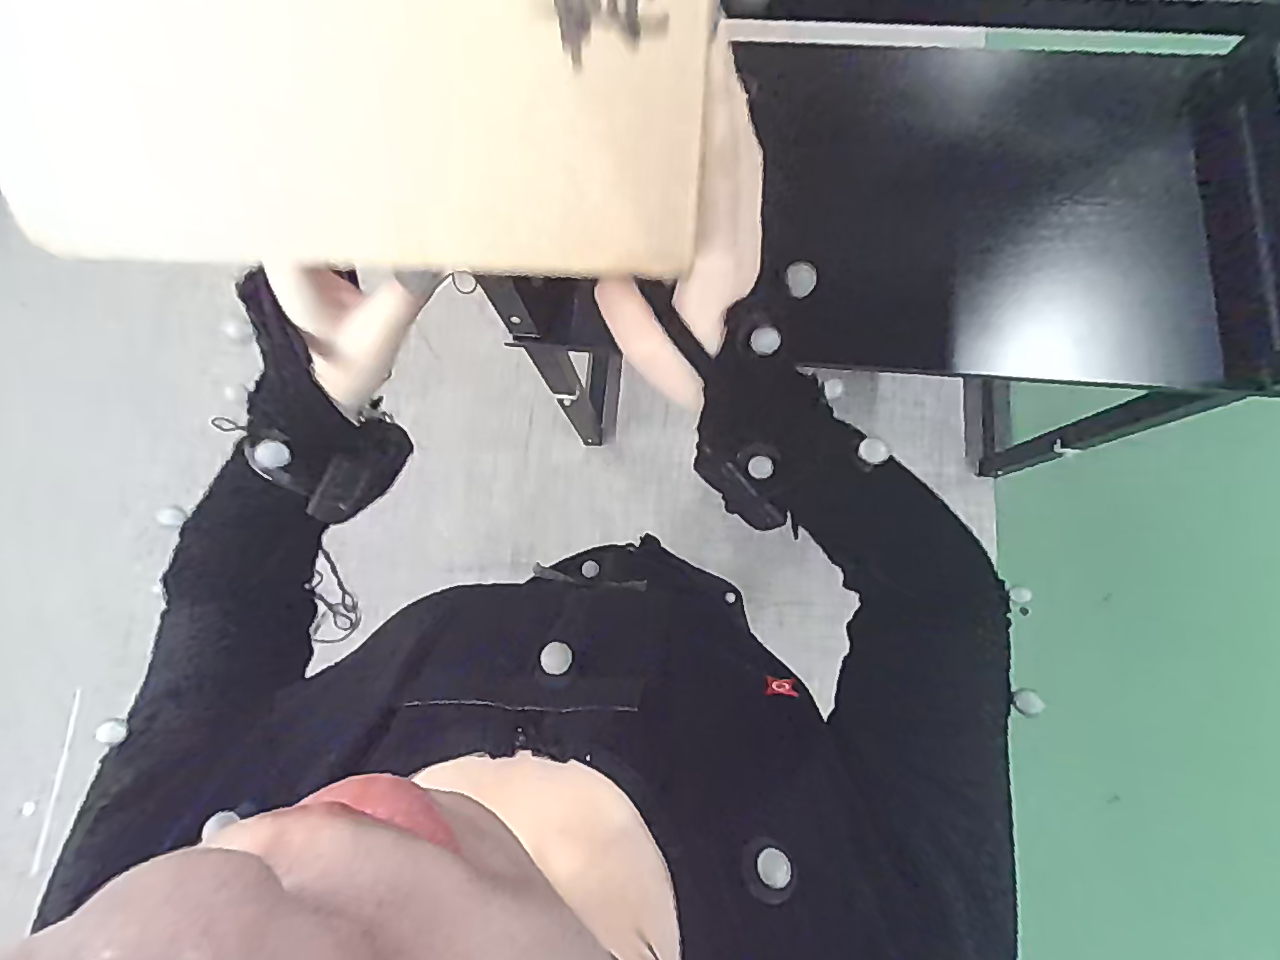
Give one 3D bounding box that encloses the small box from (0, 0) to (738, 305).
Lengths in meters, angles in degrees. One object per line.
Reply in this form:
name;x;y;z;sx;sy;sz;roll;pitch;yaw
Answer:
small box;-0.058;-0.160;0.183;0.179;0.176;0.168;3;118;4
